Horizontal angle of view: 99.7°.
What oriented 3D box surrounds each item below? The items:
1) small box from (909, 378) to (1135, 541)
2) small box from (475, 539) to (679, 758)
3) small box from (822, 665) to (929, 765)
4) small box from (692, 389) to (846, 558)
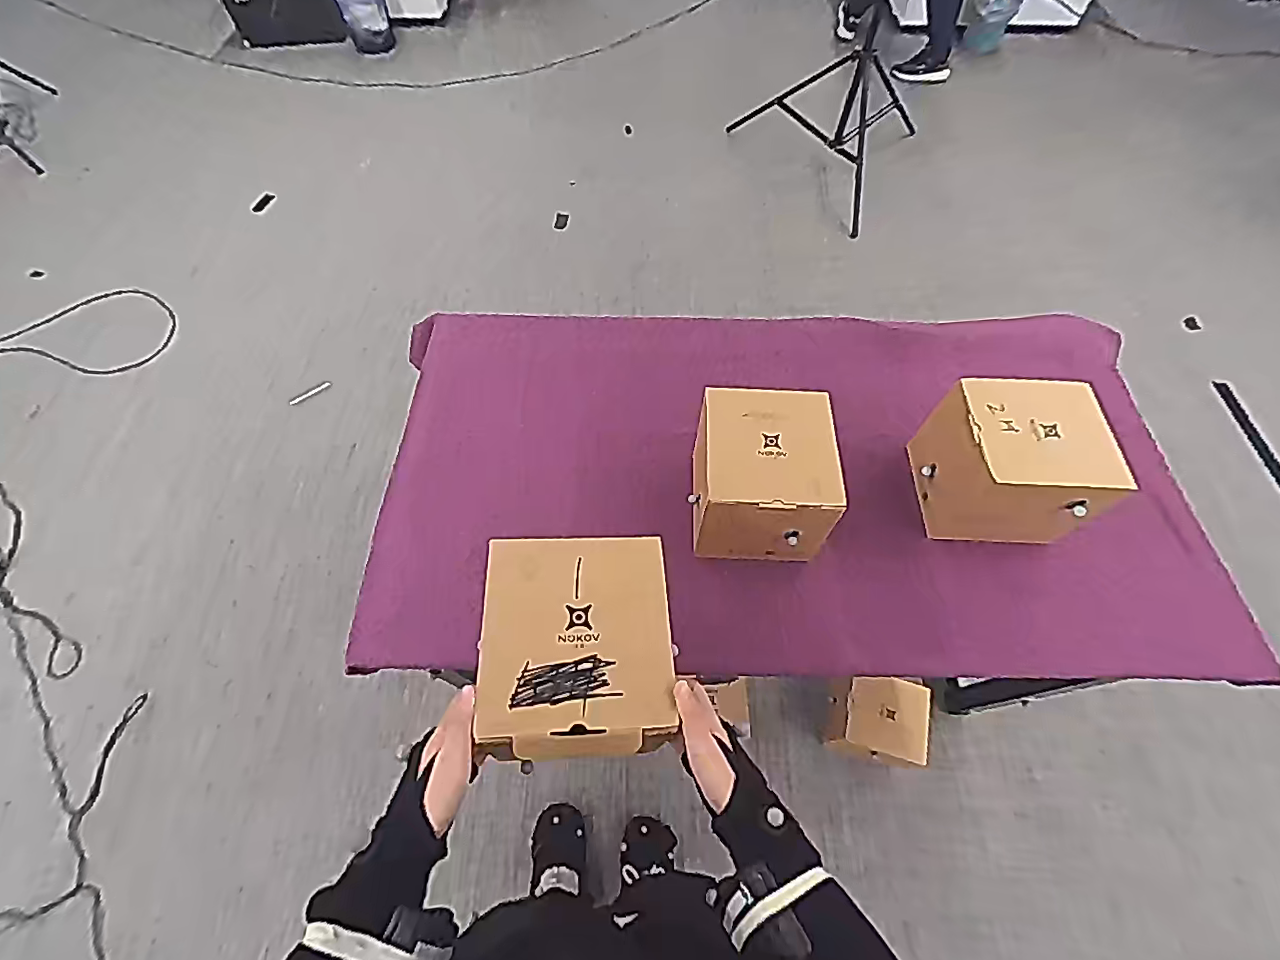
[{"bbox_3d":[0.511,-0.022,0.756,0.179,0.176,0.168,2,60,1],"label":"small box"},{"bbox_3d":[-0.060,0.173,0.539,0.168,0.176,0.179,0,57,-8],"label":"small box"},{"bbox_3d":[0.550,0.554,1.271,0.179,0.176,0.168,15,62,9],"label":"small box"},{"bbox_3d":[0.163,-0.003,0.744,0.168,0.176,0.179,2,59,0],"label":"small box"}]
